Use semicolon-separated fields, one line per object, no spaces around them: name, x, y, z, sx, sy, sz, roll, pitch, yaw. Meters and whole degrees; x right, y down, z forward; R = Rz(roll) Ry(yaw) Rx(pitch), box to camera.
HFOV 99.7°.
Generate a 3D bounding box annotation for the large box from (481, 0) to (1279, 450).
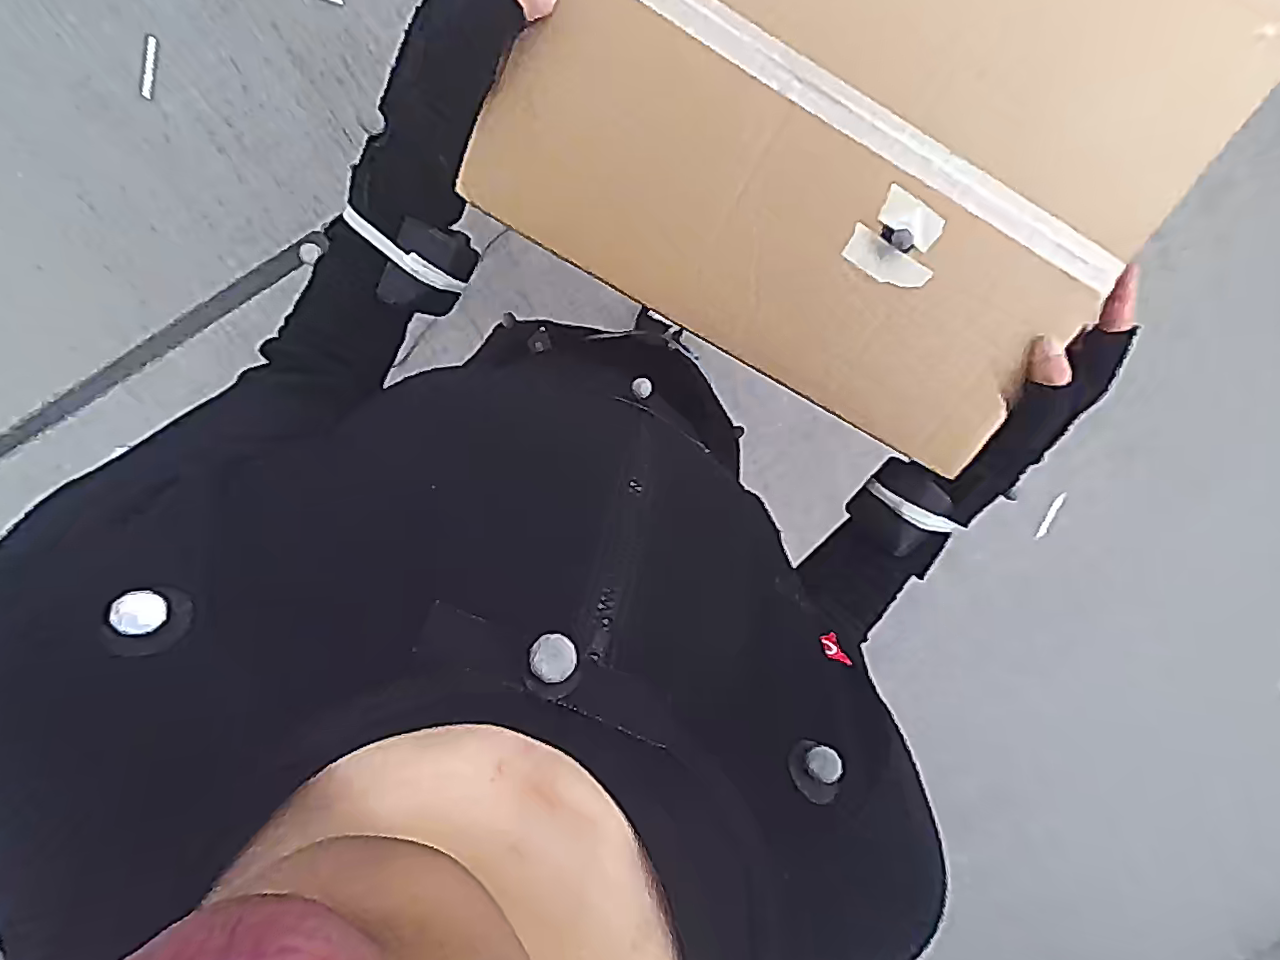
large box;0.140;-0.285;0.479;0.408;0.320;0.320;28;111;-7
